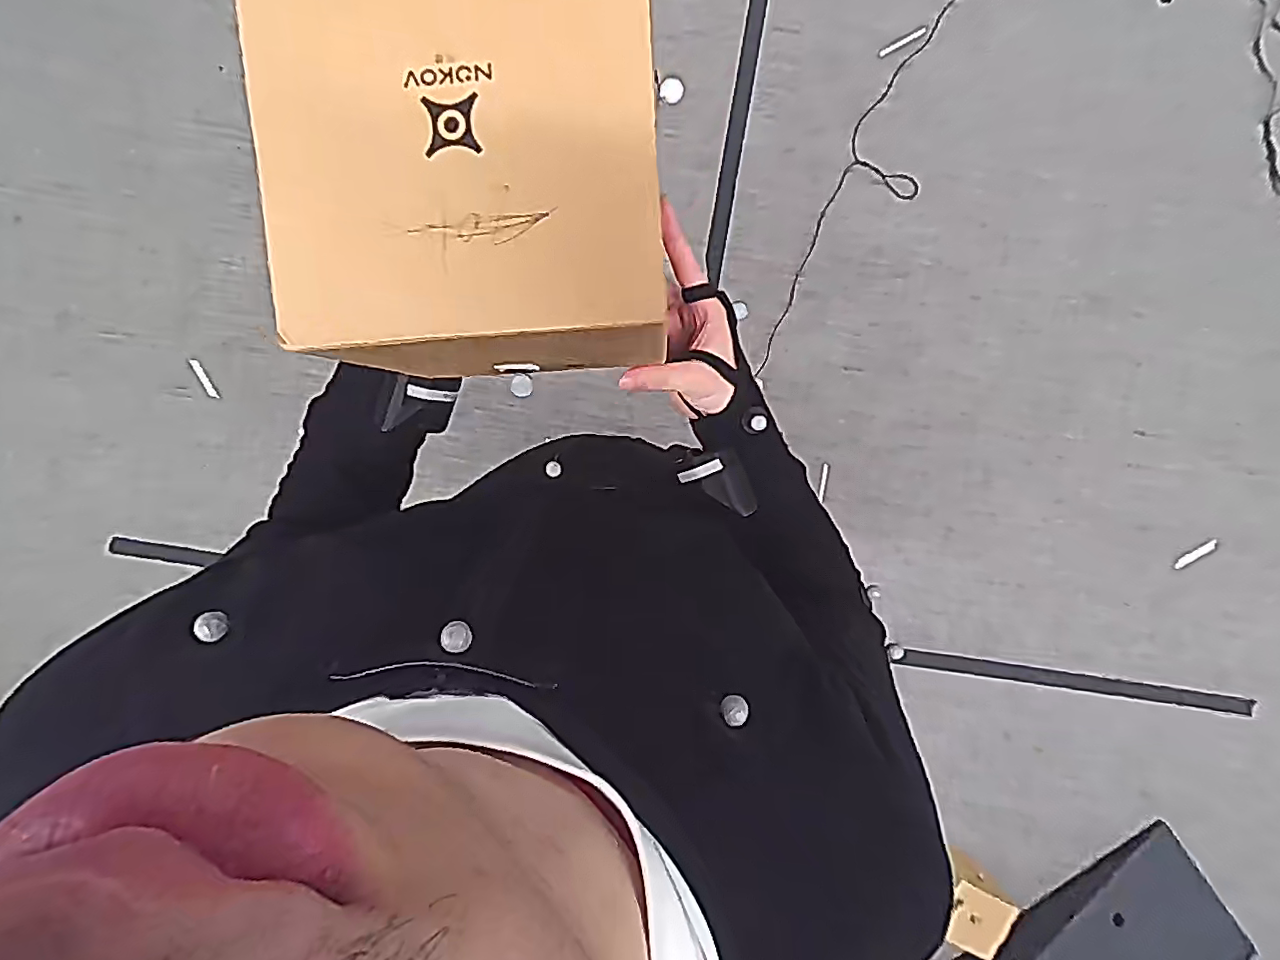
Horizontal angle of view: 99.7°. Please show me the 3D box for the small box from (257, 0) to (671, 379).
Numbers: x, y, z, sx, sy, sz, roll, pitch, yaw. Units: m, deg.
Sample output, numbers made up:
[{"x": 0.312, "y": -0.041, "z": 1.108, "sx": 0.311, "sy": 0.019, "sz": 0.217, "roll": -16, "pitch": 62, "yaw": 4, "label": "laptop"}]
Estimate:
[{"x": -0.071, "y": -0.157, "z": 0.307, "sx": 0.168, "sy": 0.176, "sz": 0.179, "roll": -4, "pitch": 97, "yaw": 3, "label": "small box"}]
